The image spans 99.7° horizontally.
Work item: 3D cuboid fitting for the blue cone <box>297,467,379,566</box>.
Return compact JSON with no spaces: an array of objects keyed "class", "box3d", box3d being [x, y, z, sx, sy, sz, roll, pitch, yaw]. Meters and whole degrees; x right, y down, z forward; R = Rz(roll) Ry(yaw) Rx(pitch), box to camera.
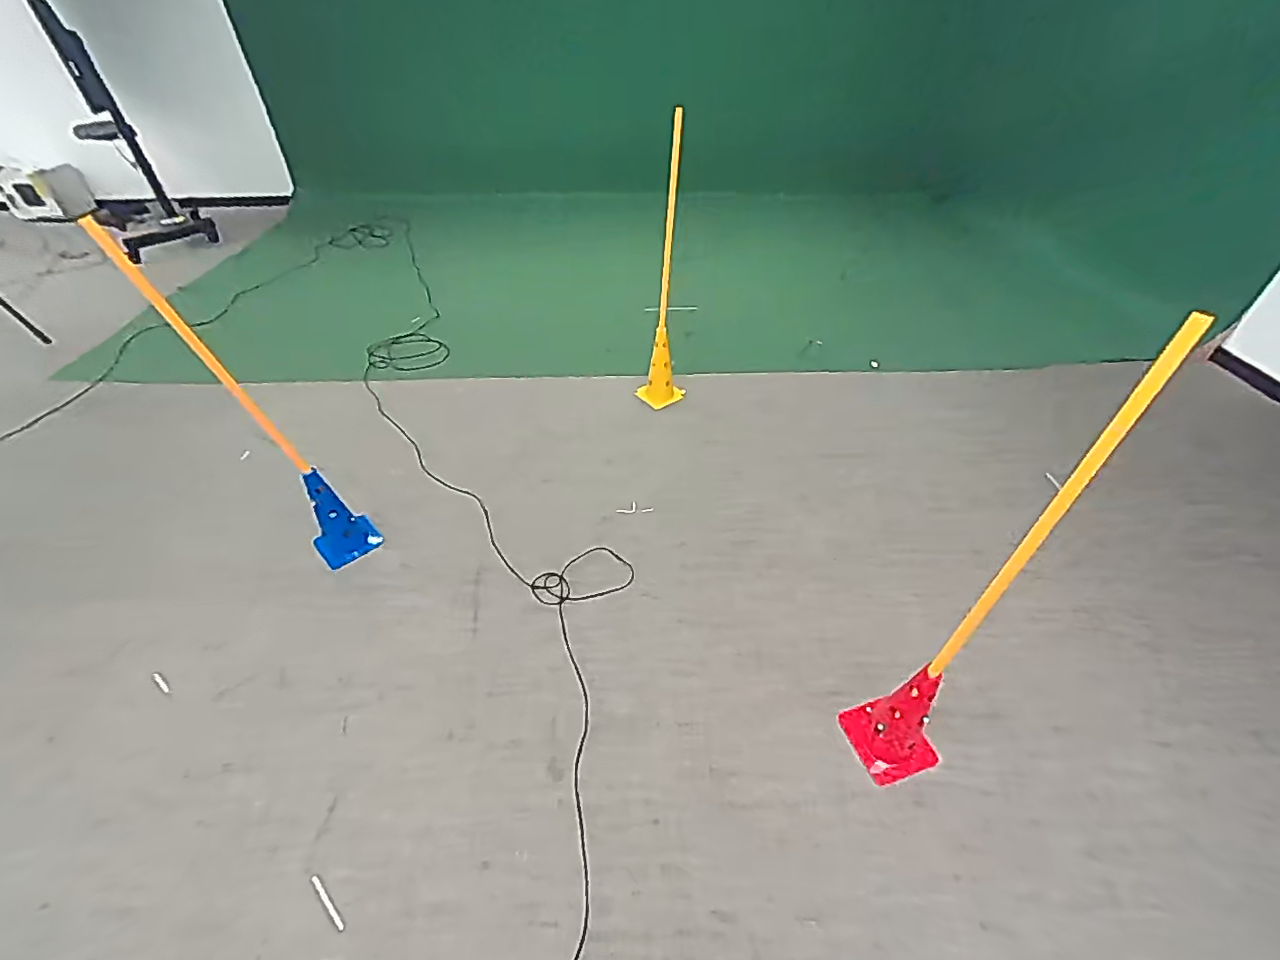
[{"class":"blue cone","box3d":[-1.080,0.107,1.871,0.192,0.380,0.193,34,55,30]}]
